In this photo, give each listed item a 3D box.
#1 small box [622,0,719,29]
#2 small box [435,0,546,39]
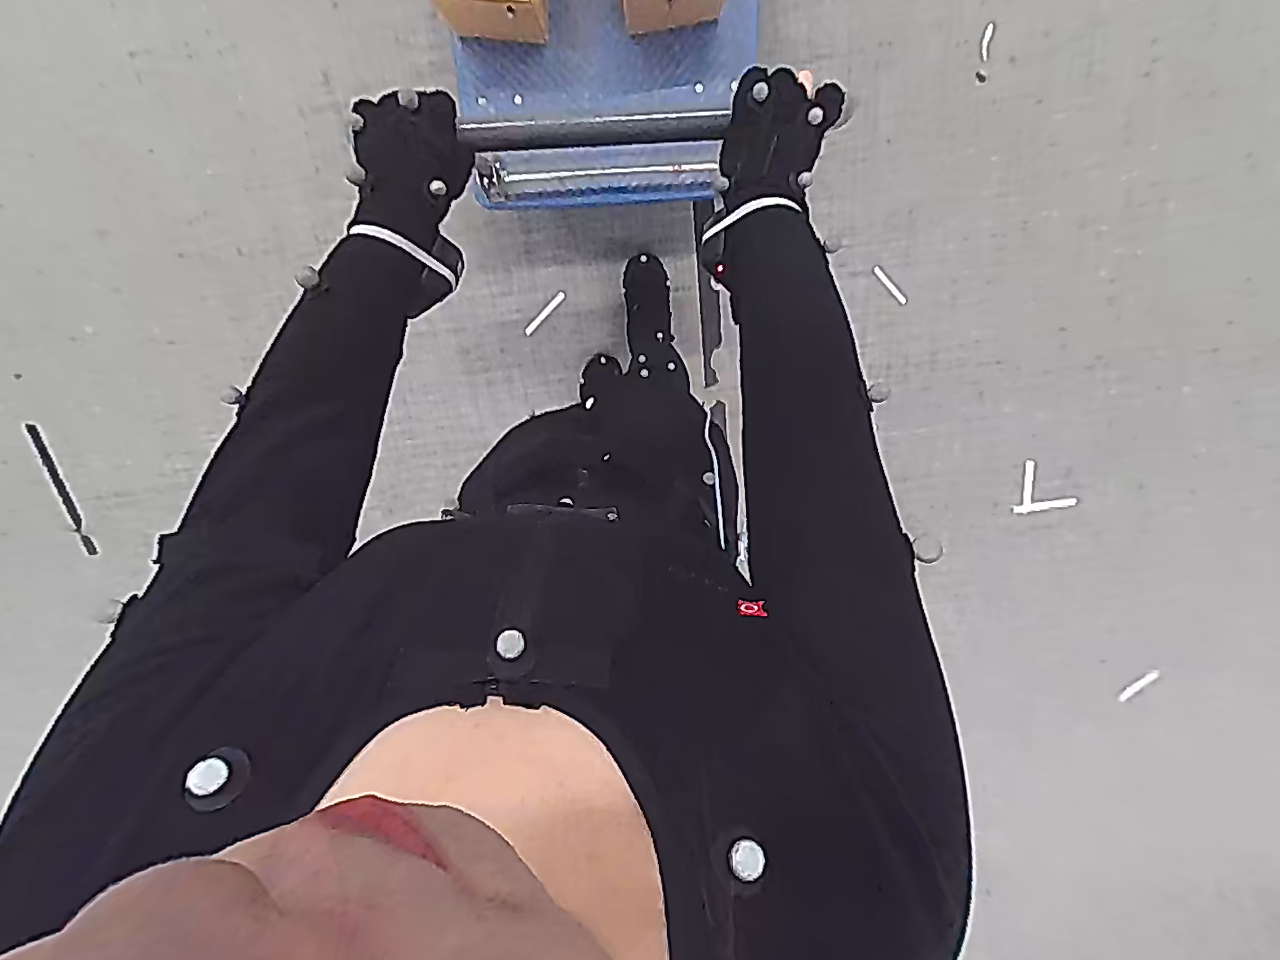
[{"bbox_3d":[0.047,-0.884,0.890,0.179,0.176,0.168,-8,112,3],"label":"small box"},{"bbox_3d":[-0.256,-0.868,0.897,0.179,0.176,0.168,2,111,-3],"label":"small box"}]
